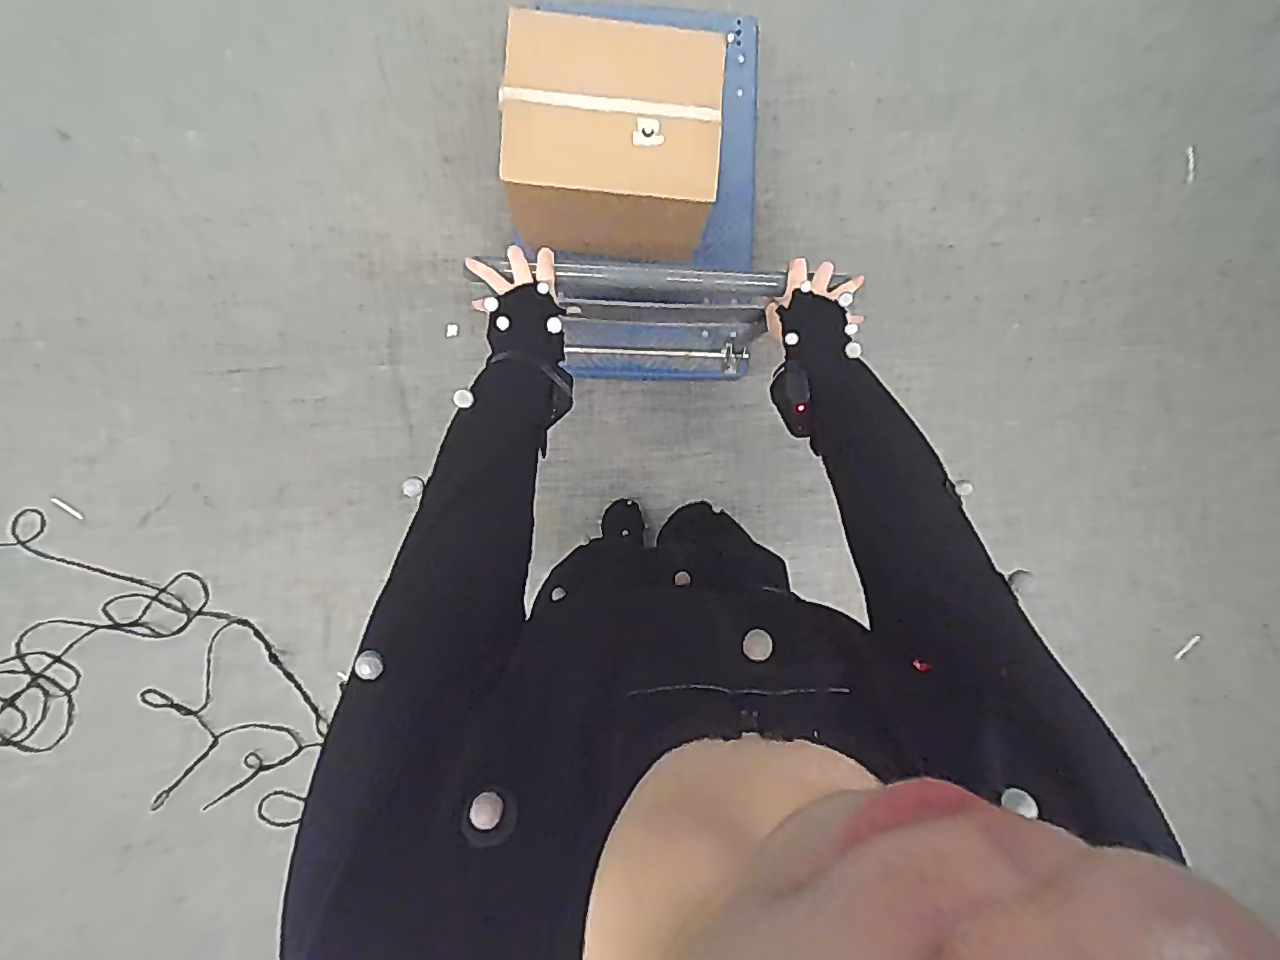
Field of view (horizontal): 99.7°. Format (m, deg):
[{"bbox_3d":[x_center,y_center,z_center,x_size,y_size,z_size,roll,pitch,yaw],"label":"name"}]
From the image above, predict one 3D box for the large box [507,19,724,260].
[{"bbox_3d":[-0.058,-0.698,1.167,0.408,0.320,0.320,4,91,-5],"label":"large box"}]
